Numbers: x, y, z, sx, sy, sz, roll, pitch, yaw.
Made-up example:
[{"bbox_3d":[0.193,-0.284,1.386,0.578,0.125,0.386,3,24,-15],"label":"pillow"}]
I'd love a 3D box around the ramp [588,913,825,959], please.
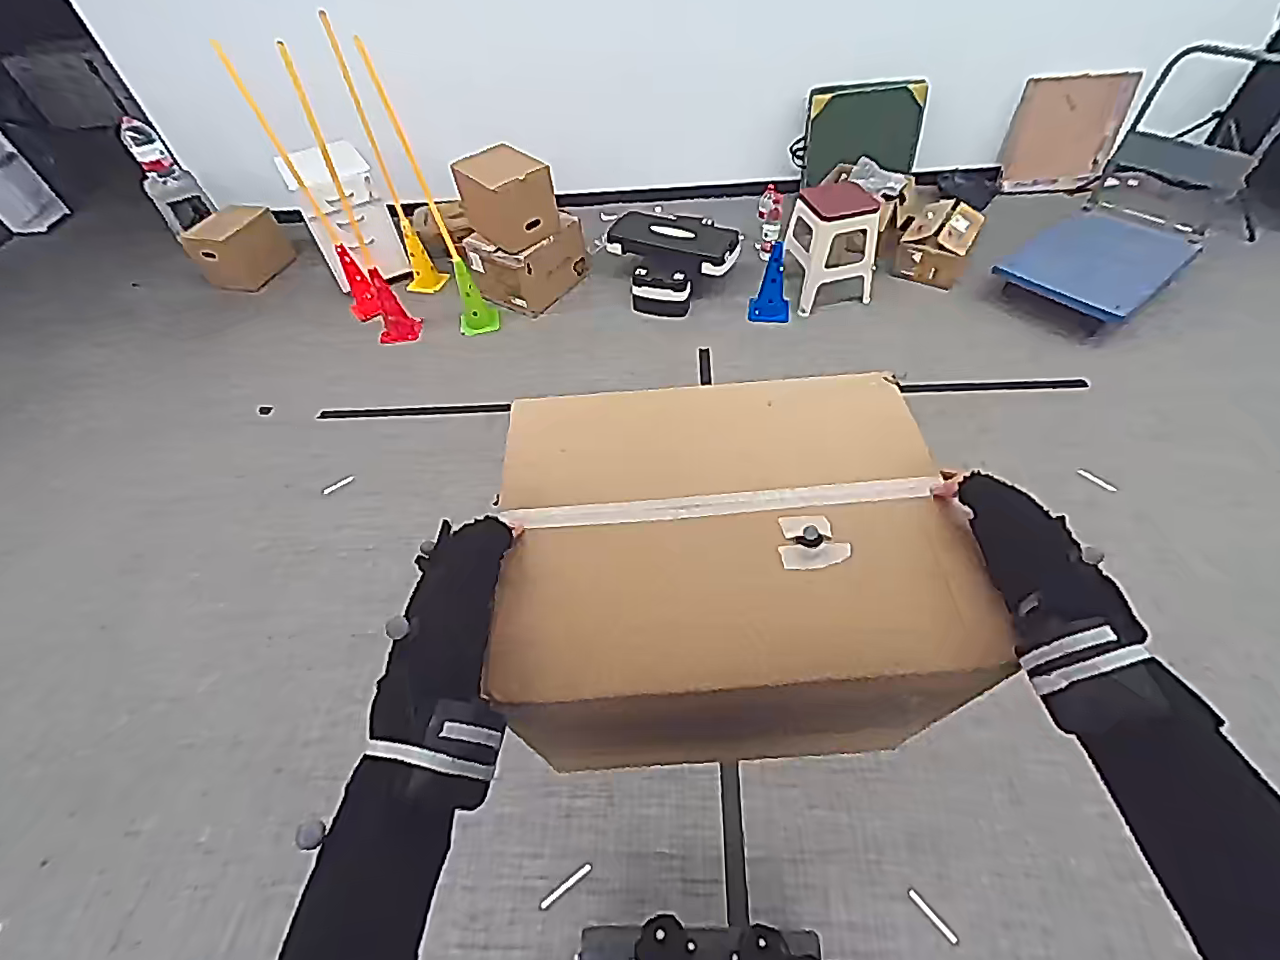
[{"bbox_3d":[0.136,1.356,0.906,0.509,0.206,0.991,-3,51,2],"label":"ramp"}]

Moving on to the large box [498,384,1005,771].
[{"bbox_3d":[0.082,0.122,0.621,0.408,0.320,0.320,-5,54,0],"label":"large box"}]
